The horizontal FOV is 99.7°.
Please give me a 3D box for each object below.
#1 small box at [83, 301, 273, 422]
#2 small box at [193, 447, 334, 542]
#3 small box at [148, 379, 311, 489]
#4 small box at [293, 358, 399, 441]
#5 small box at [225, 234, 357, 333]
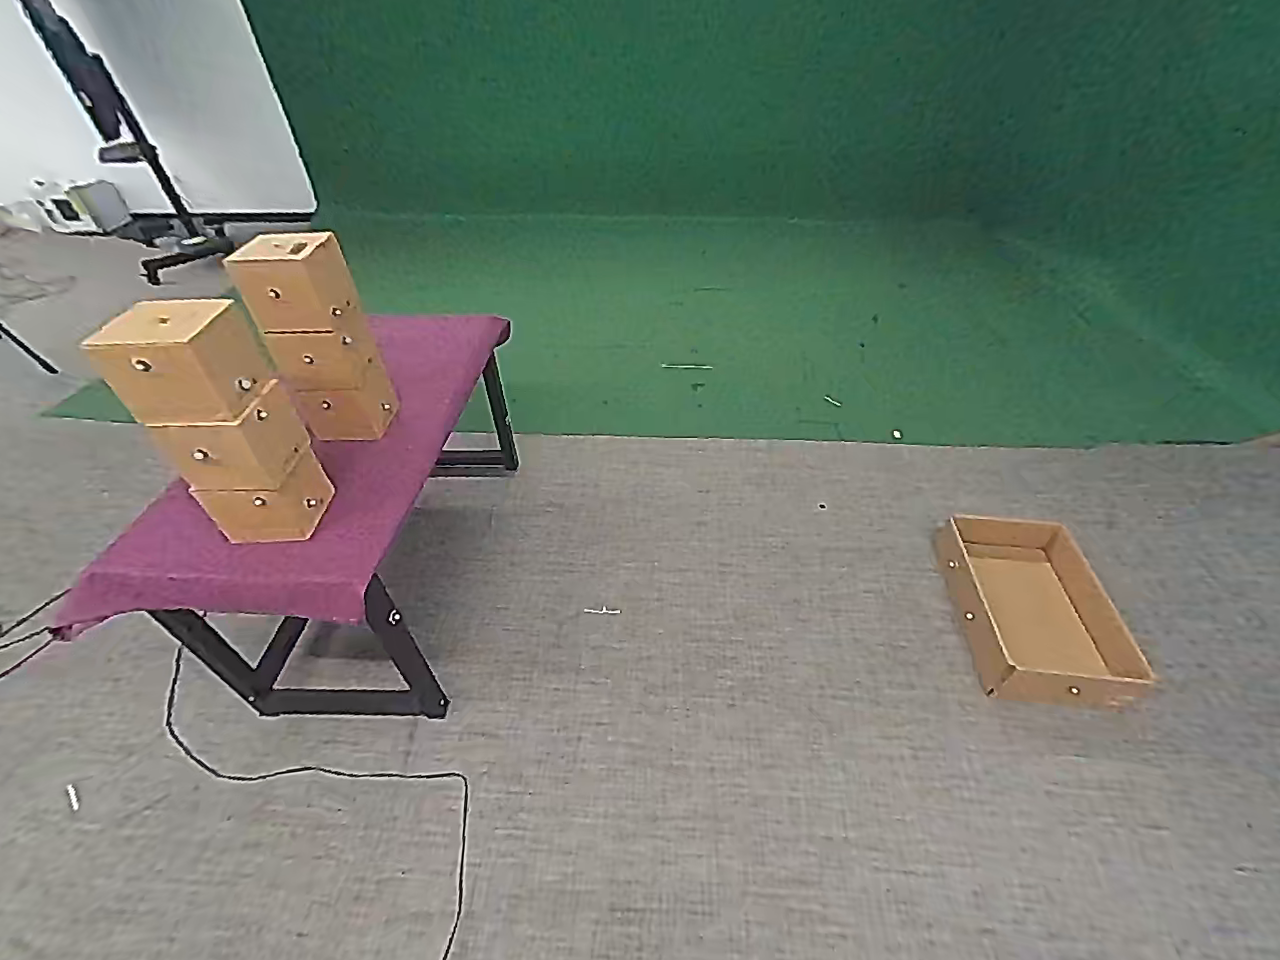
[{"bbox_3d":[-0.842,-0.219,1.010,0.179,0.176,0.168,-2,43,-2],"label":"small box"},{"bbox_3d":[-0.840,0.027,1.226,0.179,0.176,0.168,-2,42,-1],"label":"small box"},{"bbox_3d":[-0.829,-0.093,1.115,0.179,0.176,0.168,-1,43,1],"label":"small box"},{"bbox_3d":[-0.799,-0.220,1.491,0.179,0.176,0.168,0,43,1],"label":"small box"},{"bbox_3d":[-0.797,-0.456,1.262,0.179,0.176,0.168,-2,43,1],"label":"small box"}]
